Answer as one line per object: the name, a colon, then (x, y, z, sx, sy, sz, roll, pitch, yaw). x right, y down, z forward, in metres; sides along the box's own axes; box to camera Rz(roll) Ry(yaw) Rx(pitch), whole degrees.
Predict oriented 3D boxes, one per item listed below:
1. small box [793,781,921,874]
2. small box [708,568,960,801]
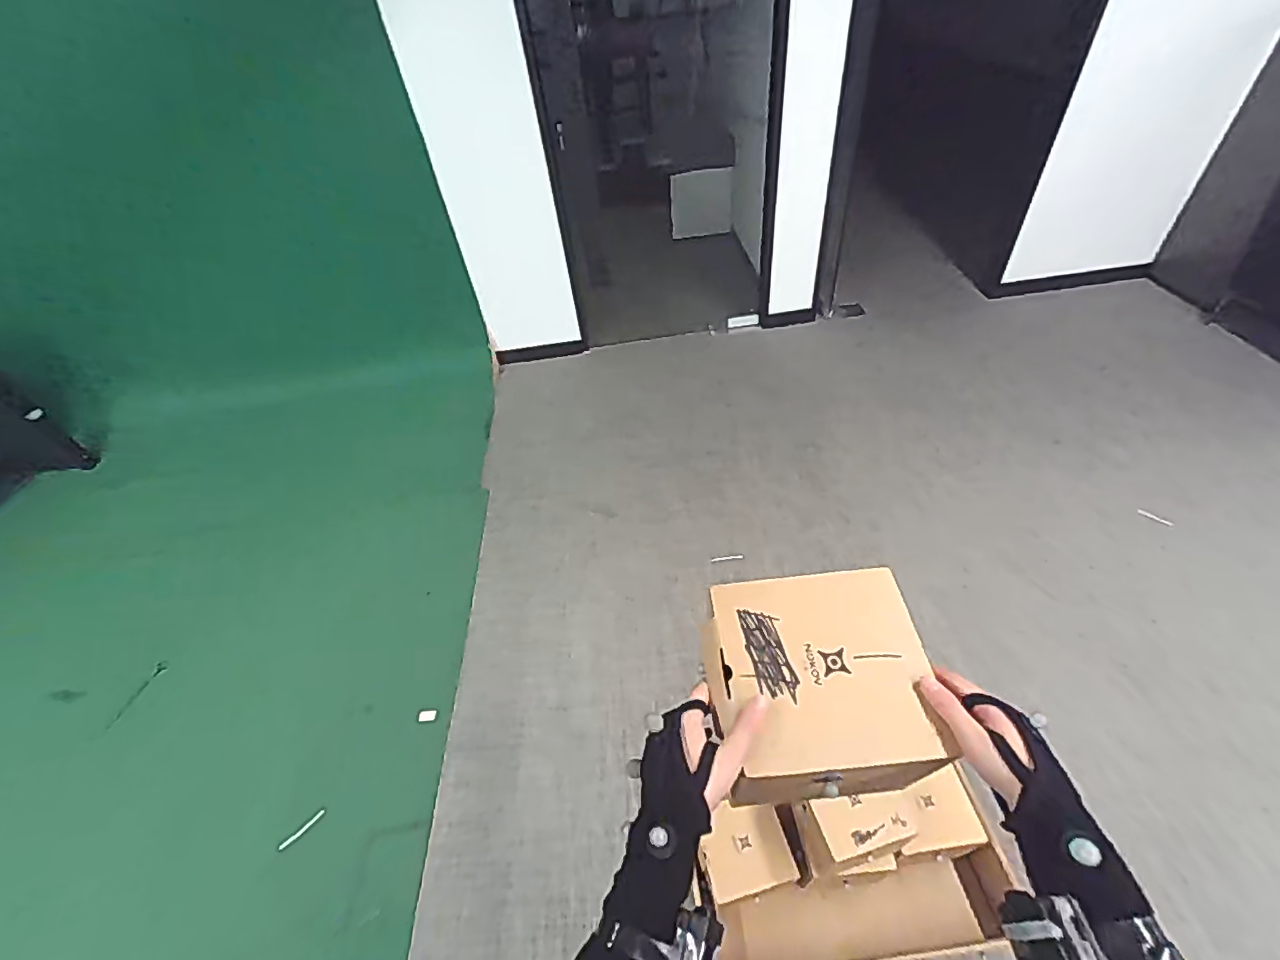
small box: (0.403, 0.630, 1.054, 0.168, 0.176, 0.179, -15, 46, -5)
small box: (0.164, 0.205, 0.530, 0.179, 0.176, 0.168, -6, 52, 1)
